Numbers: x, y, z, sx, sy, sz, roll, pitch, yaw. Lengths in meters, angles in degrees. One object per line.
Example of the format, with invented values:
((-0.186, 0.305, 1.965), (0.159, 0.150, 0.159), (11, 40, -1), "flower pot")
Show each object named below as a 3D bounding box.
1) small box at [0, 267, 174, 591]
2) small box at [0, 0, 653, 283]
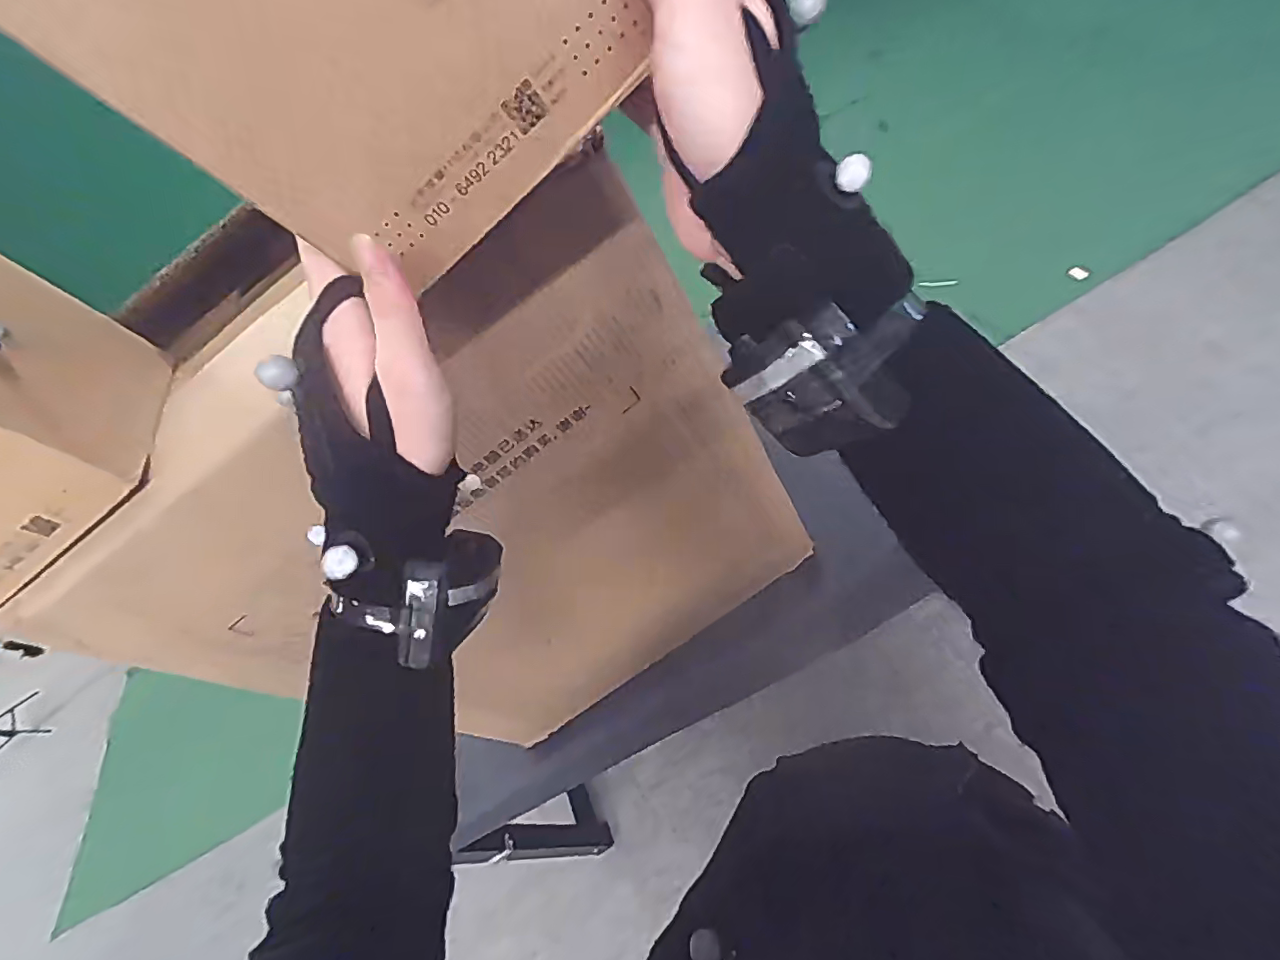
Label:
((-0.466, -0.041, 0.366), (0.168, 0.176, 0.179), (-38, 49, 5), "small box")
((-0.120, -0.213, 0.221), (0.168, 0.176, 0.179), (-34, 56, 16), "small box")
